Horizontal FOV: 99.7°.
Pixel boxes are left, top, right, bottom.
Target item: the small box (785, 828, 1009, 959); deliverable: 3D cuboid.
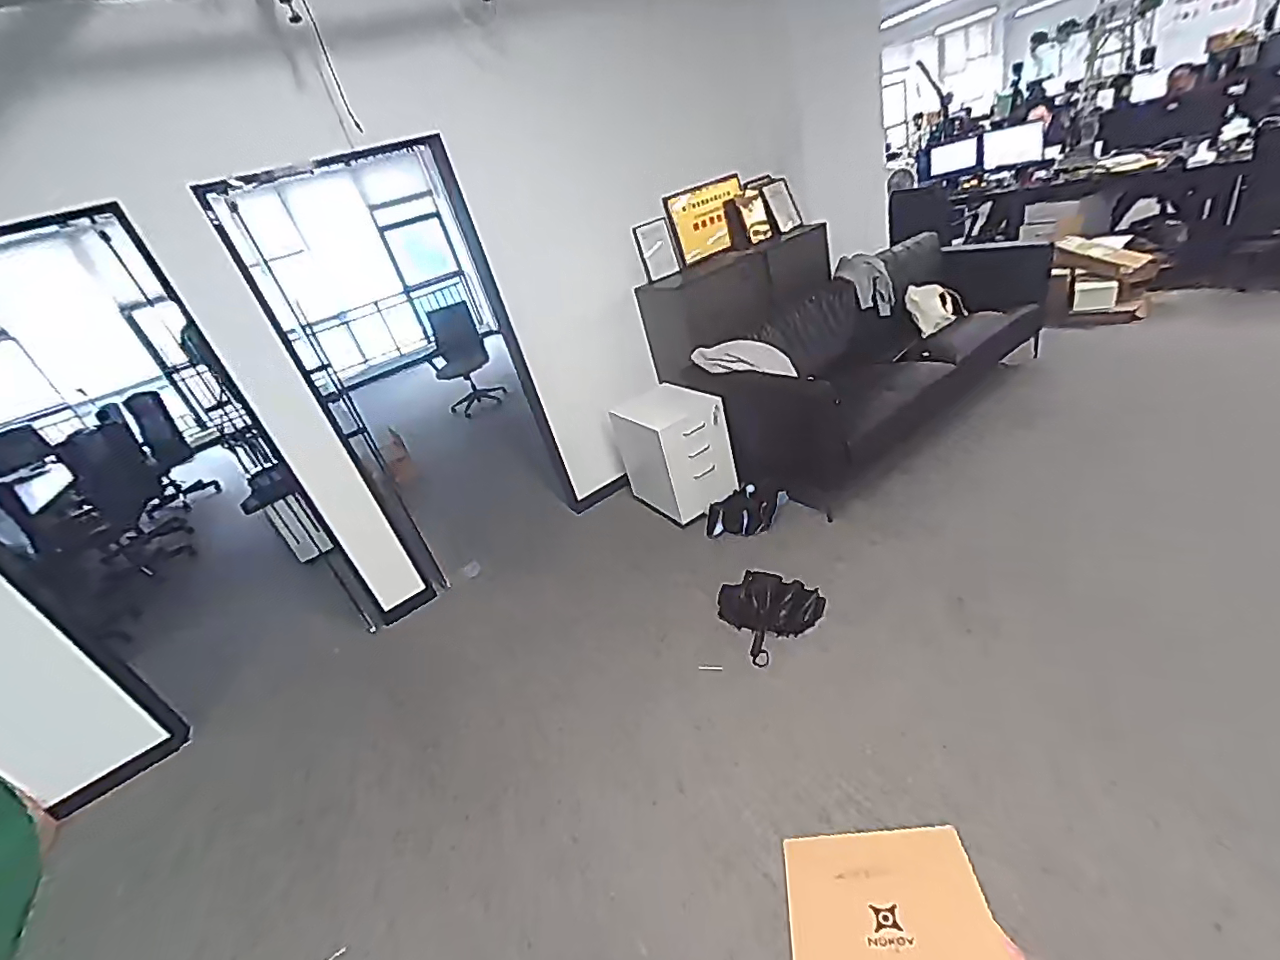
[{"bbox_3d":[0.231,0.450,0.470,0.168,0.176,0.179,-13,11,14],"label":"small box"}]
